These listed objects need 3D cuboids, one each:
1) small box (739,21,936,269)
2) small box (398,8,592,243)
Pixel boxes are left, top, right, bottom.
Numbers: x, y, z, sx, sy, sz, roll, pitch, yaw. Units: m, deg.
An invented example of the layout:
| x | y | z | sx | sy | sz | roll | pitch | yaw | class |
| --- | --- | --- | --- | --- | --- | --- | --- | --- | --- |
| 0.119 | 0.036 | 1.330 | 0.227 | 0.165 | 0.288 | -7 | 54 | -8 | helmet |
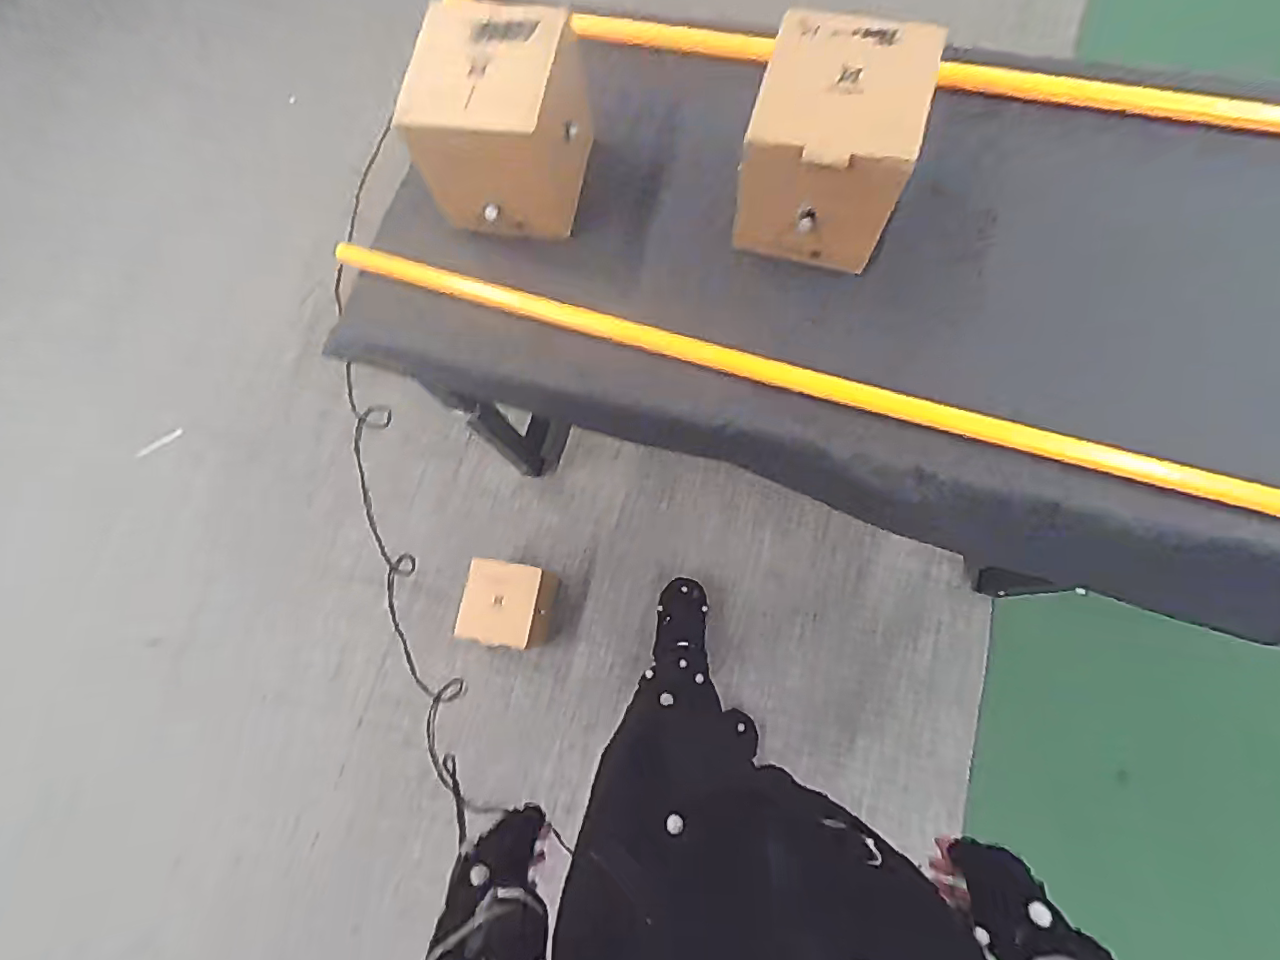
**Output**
| x | y | z | sx | sy | sz | roll | pitch | yaw | class |
| --- | --- | --- | --- | --- | --- | --- | --- | --- | --- |
| 0.212 | -0.373 | 0.623 | 0.168 | 0.176 | 0.179 | 13 | 76 | 10 | small box |
| -0.162 | -0.430 | 0.672 | 0.168 | 0.176 | 0.179 | 9 | 77 | 8 | small box |
